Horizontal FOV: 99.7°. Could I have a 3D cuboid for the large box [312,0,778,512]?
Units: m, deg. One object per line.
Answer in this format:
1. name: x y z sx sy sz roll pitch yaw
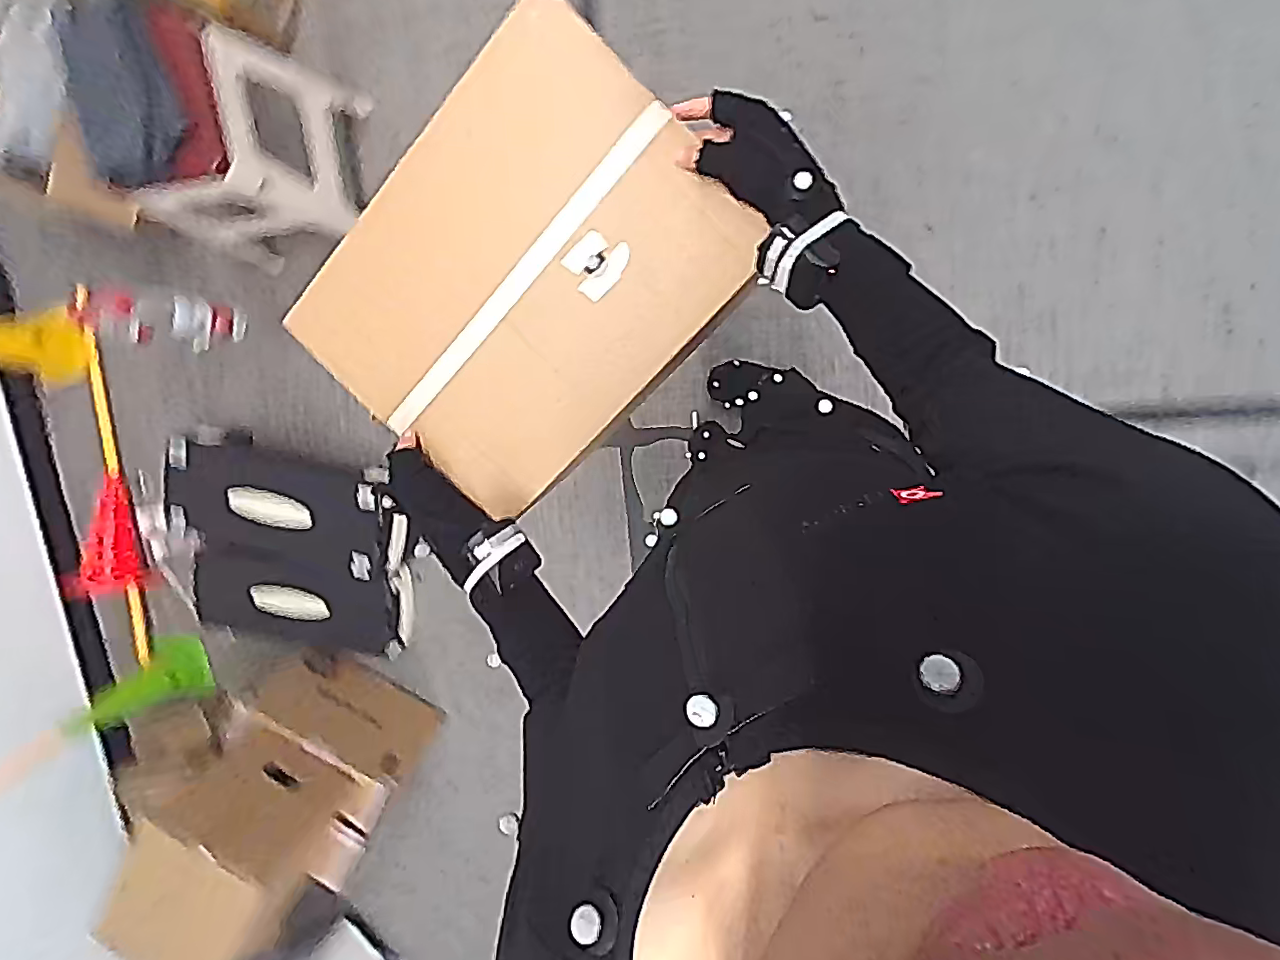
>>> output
1. large box: -0.094 -0.231 0.688 0.408 0.320 0.320 -44 95 13
